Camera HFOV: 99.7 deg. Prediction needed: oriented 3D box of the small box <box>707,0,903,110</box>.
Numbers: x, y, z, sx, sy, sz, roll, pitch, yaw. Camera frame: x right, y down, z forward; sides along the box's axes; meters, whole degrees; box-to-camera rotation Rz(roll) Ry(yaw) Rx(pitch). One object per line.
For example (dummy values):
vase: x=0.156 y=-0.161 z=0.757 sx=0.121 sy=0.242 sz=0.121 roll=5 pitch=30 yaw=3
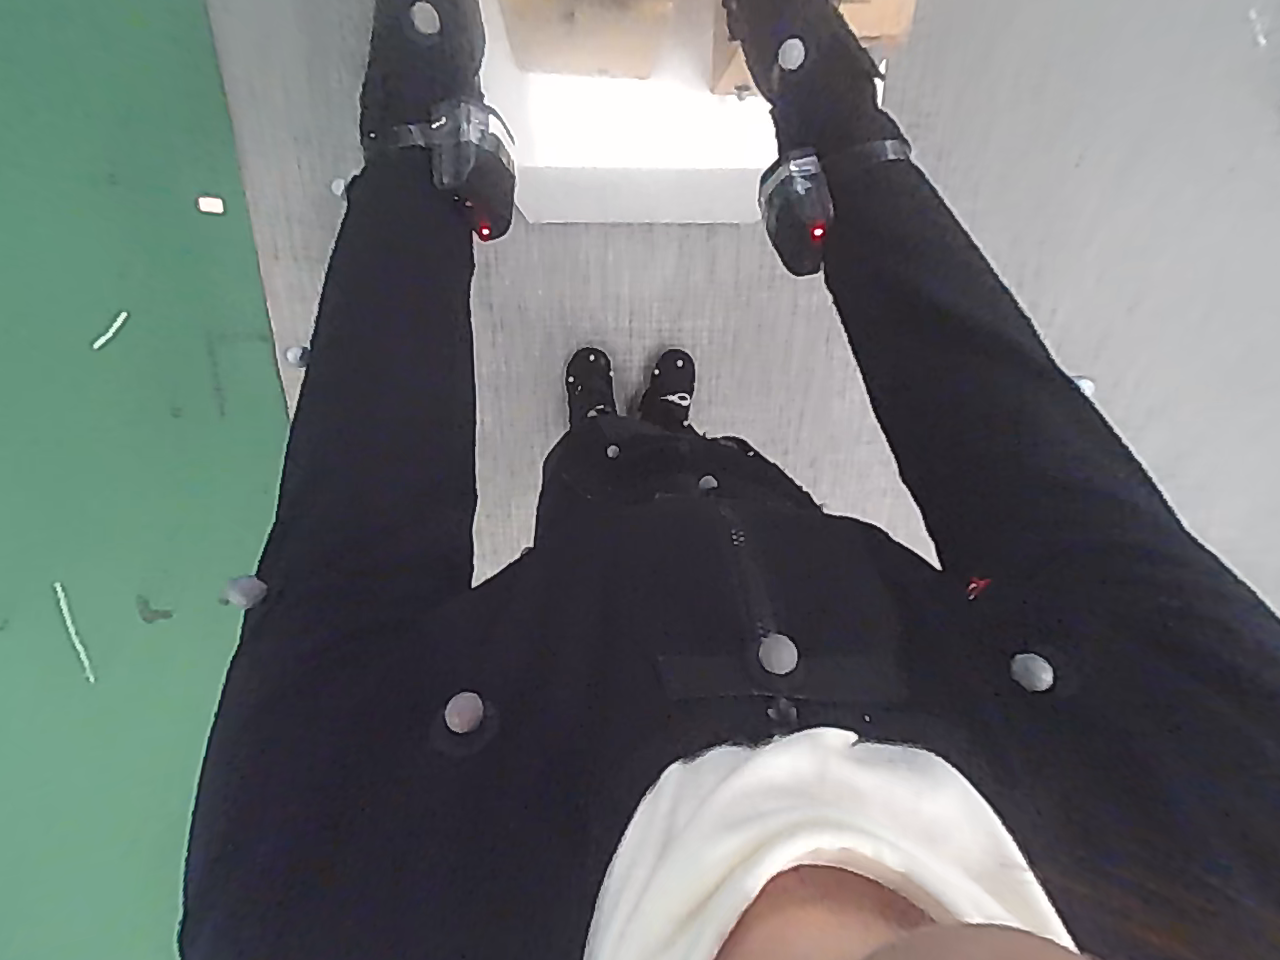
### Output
small box: x=0.173 y=-0.534 z=0.593 sx=0.168 sy=0.176 sz=0.179 roll=-1 pitch=106 yaw=-5
